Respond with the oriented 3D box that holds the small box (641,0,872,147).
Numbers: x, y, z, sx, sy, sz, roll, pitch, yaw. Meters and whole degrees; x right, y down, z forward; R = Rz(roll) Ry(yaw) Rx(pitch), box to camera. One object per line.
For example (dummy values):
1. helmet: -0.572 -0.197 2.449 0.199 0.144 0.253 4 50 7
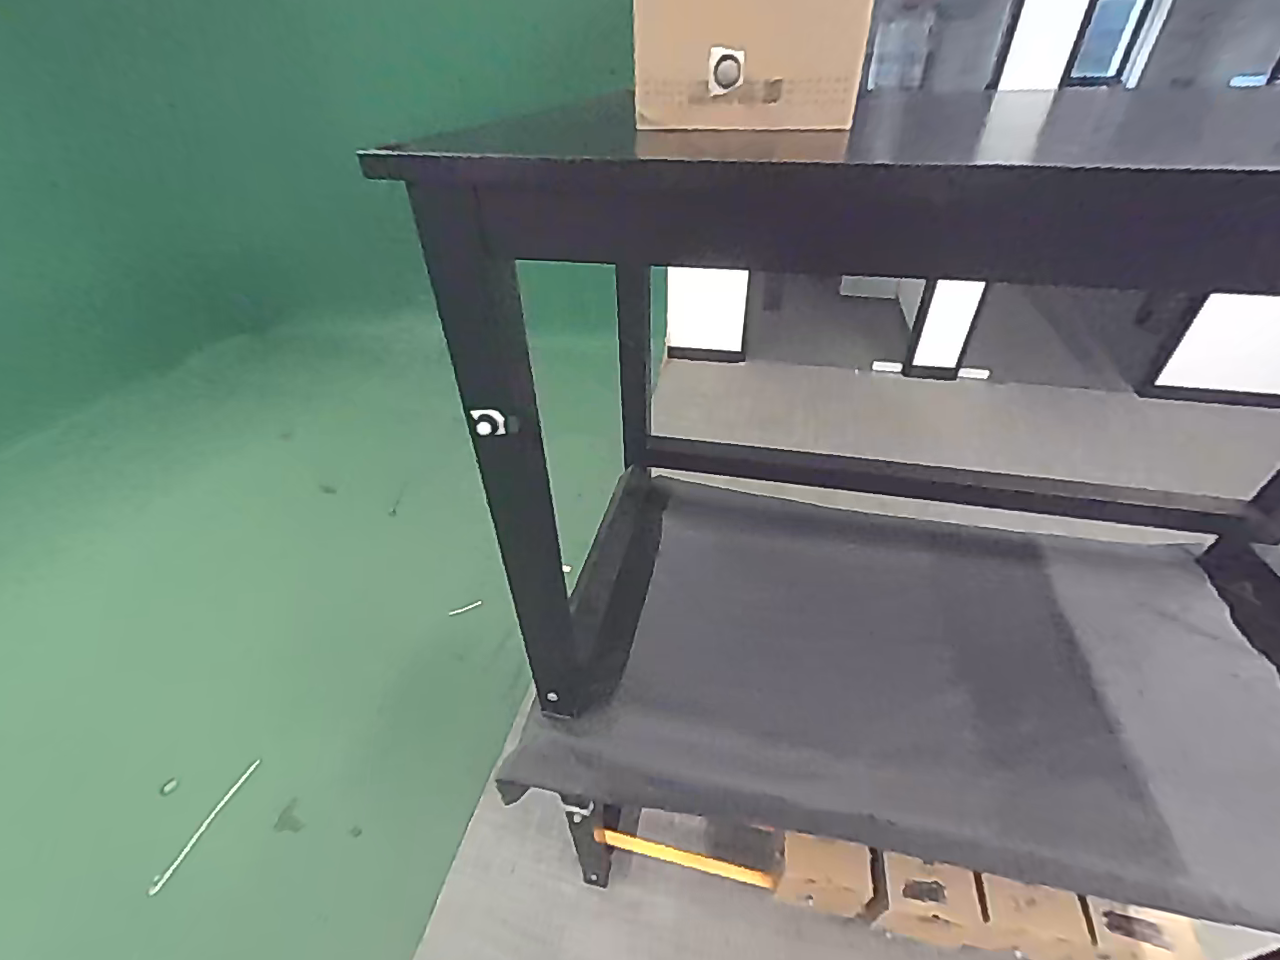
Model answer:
1. small box: 0.093 -0.386 0.447 0.168 0.176 0.179 4 39 9
